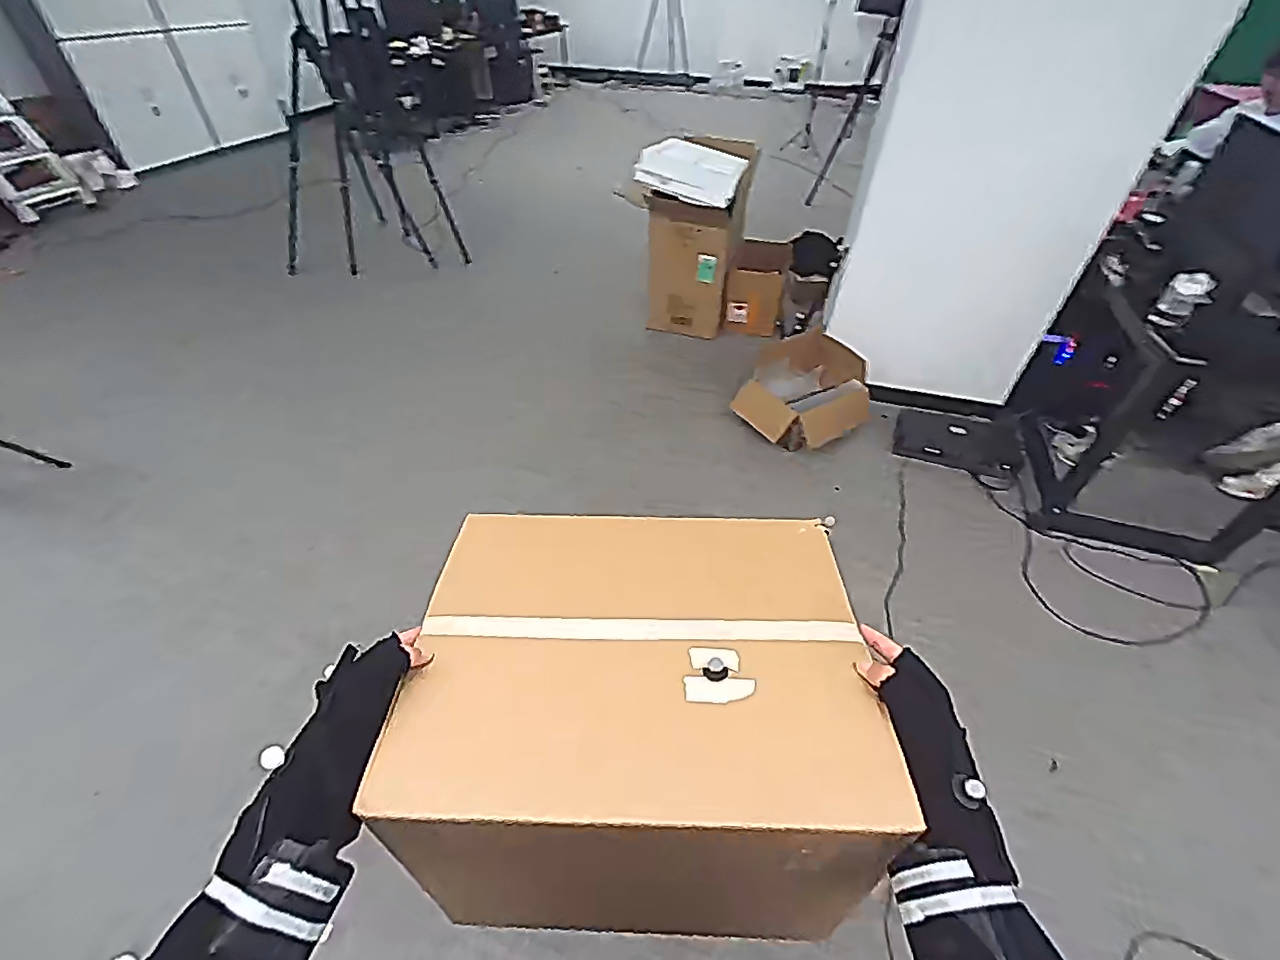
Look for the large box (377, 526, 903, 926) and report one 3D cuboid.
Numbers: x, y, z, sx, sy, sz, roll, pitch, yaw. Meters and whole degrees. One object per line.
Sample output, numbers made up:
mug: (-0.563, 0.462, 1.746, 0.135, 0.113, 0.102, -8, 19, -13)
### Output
large box: (-0.001, 0.267, 0.607, 0.408, 0.320, 0.320, 1, 39, 1)
